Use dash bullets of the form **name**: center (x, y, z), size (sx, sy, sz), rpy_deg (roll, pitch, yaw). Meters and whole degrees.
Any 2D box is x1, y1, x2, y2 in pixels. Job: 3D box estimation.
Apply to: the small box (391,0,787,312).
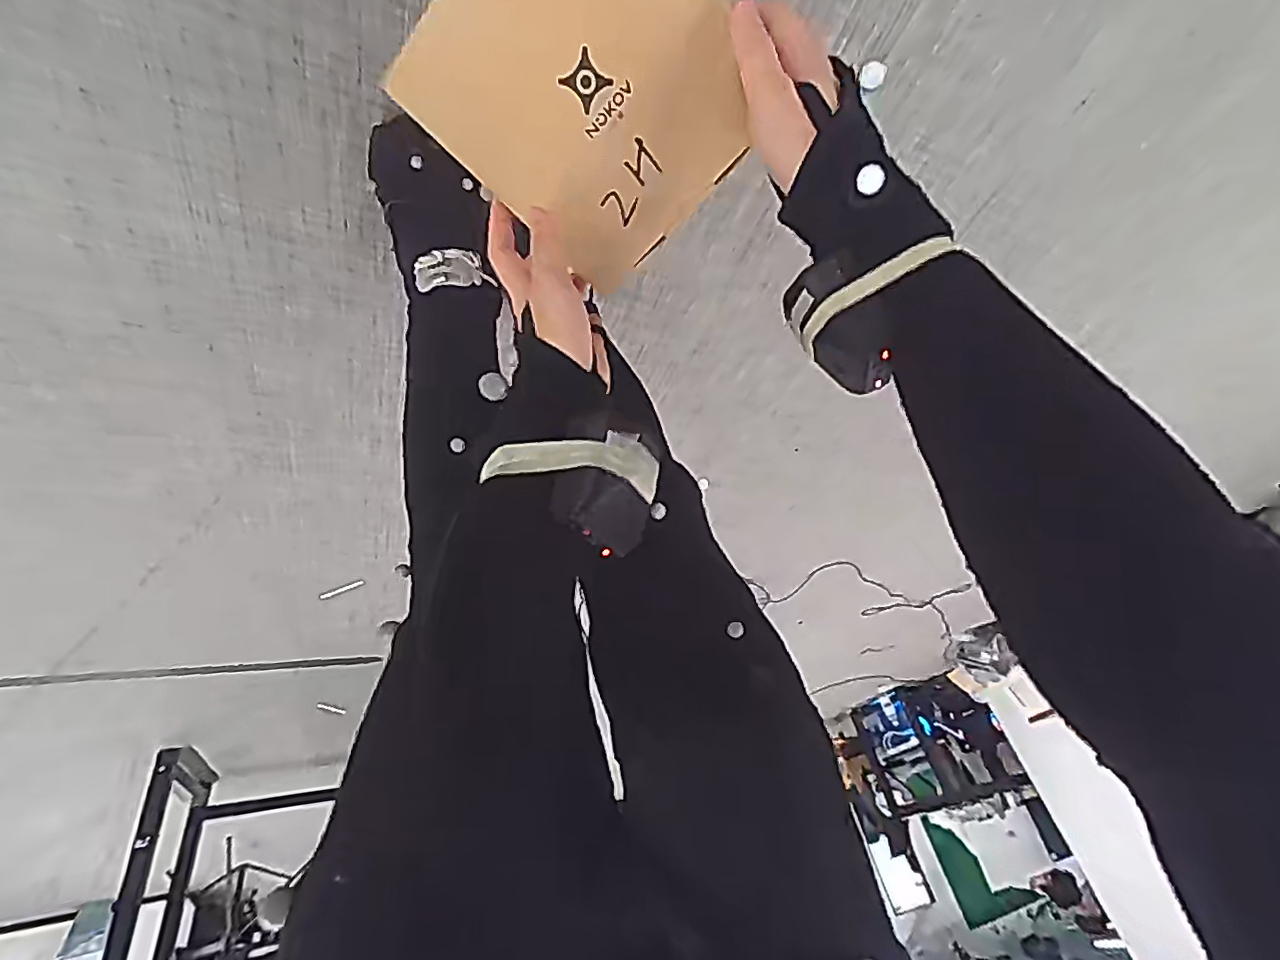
- **small box**: center (-0.034, -0.259, 0.380), size (0.168, 0.176, 0.179), rpy_deg (-39, 123, 19)
